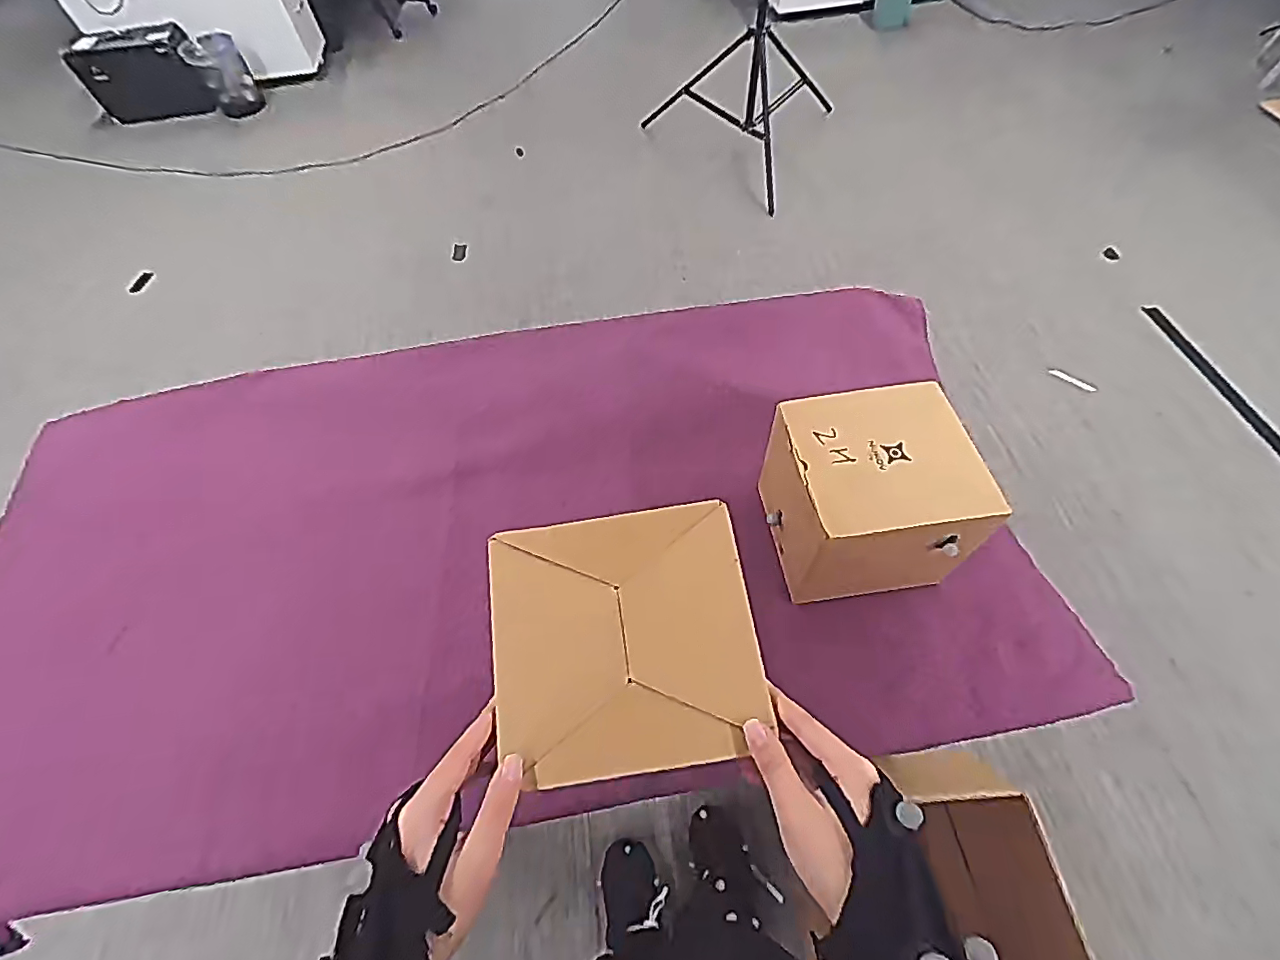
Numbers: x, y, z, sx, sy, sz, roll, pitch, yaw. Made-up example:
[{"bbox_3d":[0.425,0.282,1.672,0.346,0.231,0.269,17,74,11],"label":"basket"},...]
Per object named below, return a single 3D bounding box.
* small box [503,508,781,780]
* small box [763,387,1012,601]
[{"bbox_3d":[-0.006,0.134,0.436,0.179,0.176,0.168,-8,66,-3],"label":"small box"},{"bbox_3d":[0.251,0.021,0.601,0.179,0.176,0.168,-8,56,-1],"label":"small box"}]
